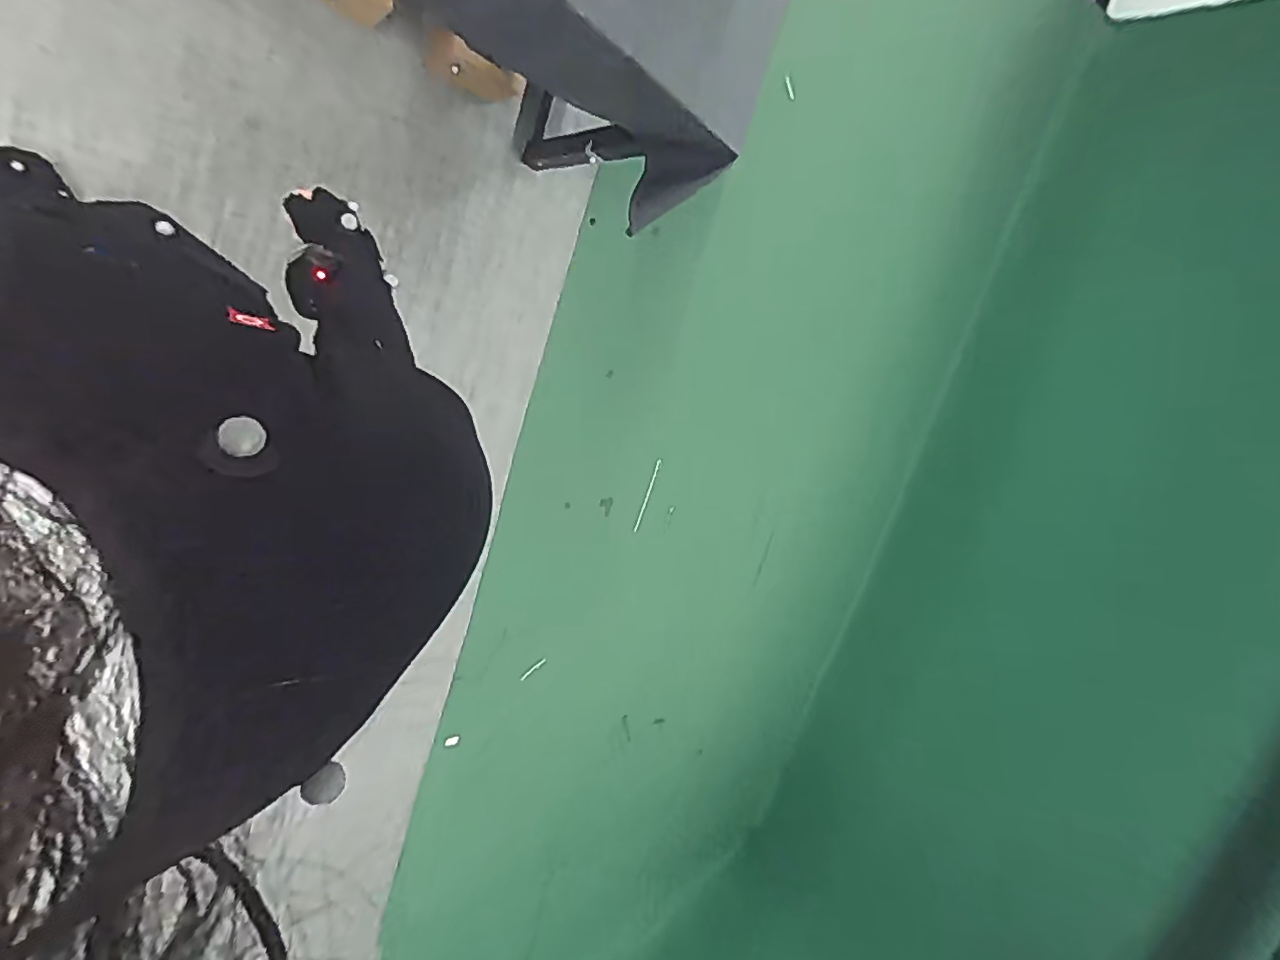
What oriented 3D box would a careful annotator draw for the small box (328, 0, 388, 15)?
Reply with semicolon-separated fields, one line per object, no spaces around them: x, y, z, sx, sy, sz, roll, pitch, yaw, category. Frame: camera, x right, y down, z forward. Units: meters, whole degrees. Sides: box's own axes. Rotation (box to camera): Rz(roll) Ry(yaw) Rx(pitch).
-0.575;-1.030;1.021;0.179;0.176;0.168;6;106;-43;small box
